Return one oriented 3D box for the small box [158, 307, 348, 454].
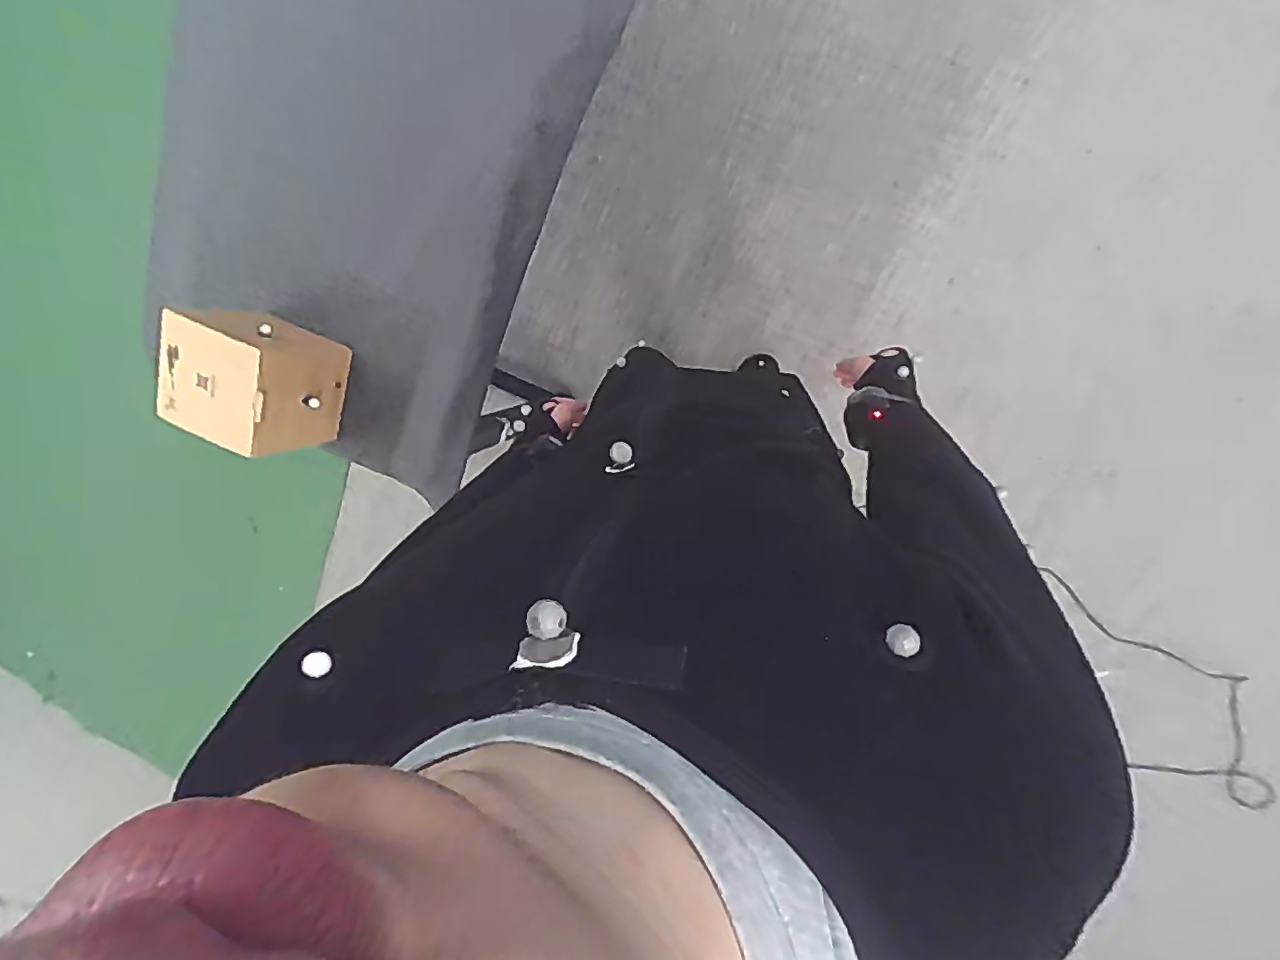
[{"bbox_3d":[-0.598,-0.162,0.852,0.179,0.176,0.168,23,108,6],"label":"small box"}]
